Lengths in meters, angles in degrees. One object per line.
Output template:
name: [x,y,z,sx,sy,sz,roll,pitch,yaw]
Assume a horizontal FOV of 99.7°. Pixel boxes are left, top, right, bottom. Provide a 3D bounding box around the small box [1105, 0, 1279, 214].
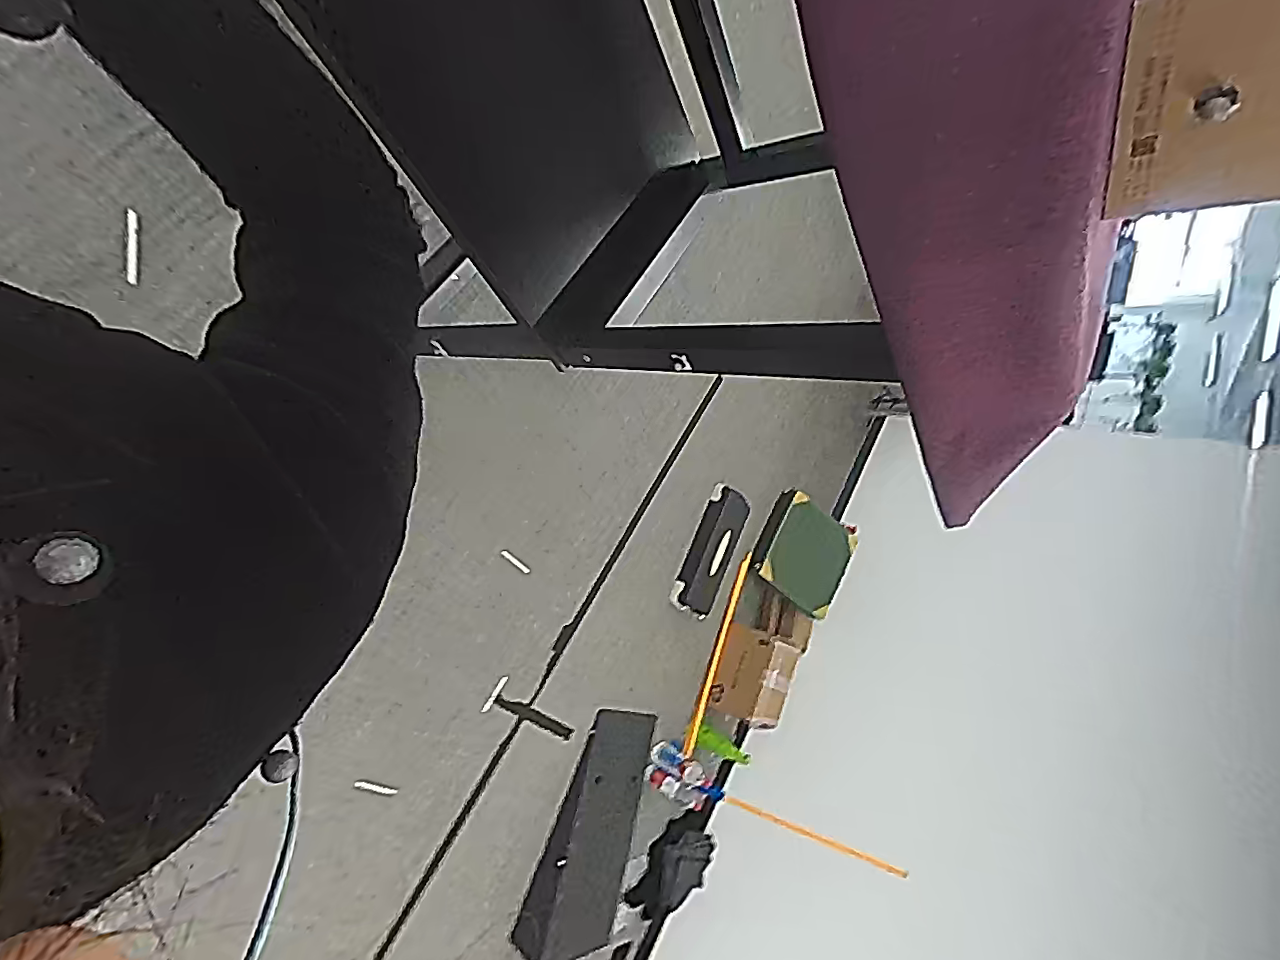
small box: [0.483,-0.332,0.409,0.179,0.176,0.168,-56,135,-24]
